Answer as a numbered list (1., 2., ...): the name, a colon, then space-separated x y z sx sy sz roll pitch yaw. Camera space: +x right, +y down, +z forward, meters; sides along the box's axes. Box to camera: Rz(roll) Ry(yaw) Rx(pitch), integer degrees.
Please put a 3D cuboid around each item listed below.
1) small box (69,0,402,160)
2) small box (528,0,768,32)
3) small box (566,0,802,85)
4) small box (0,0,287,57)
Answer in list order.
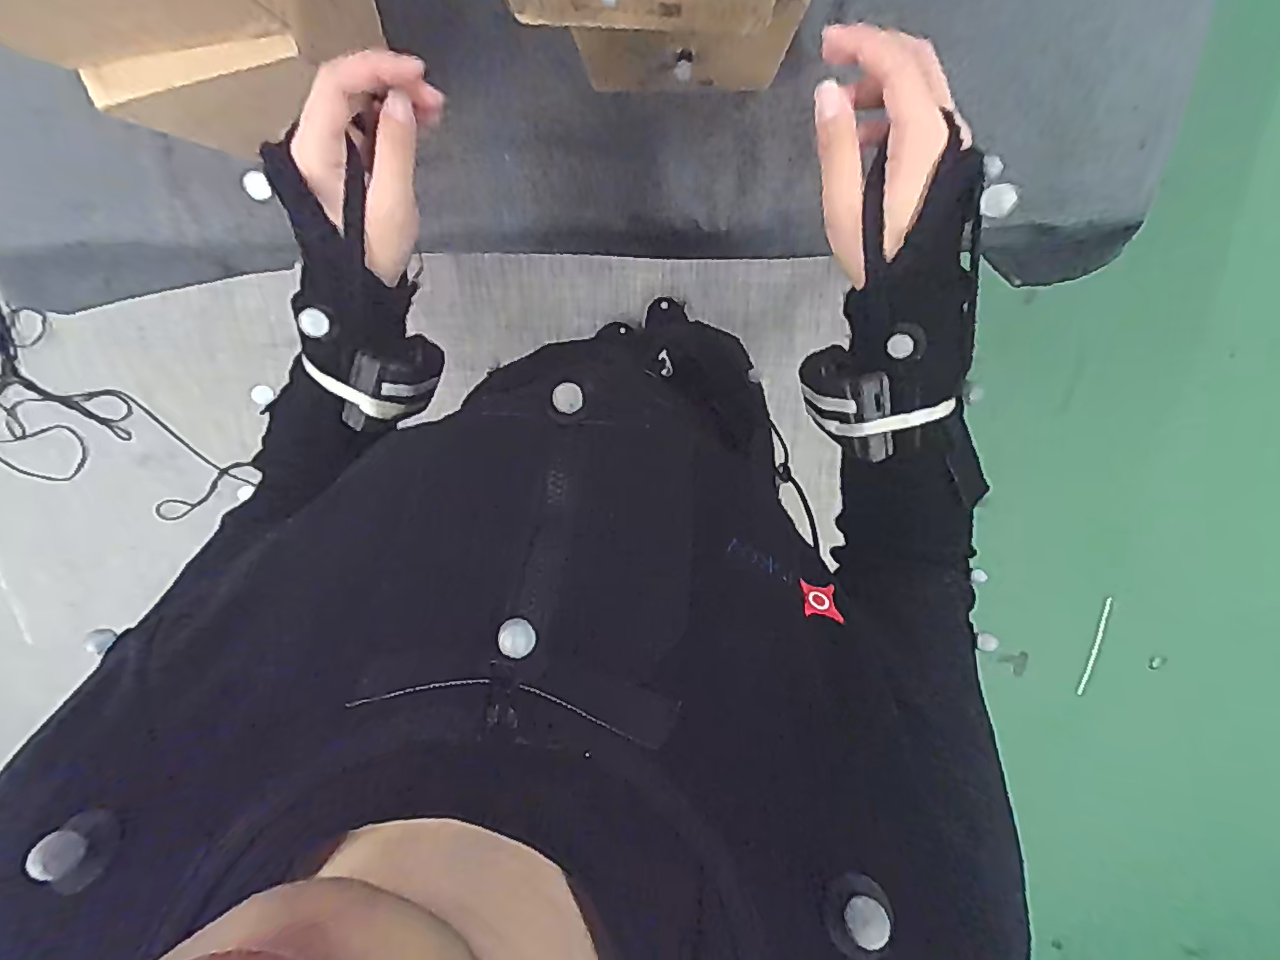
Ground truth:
1. small box: -0.324 -0.386 0.431 0.168 0.176 0.179 -9 108 6
2. small box: 0.002 -0.358 0.254 0.168 0.176 0.179 4 109 1
3. small box: 0.035 -0.421 0.404 0.168 0.176 0.179 1 109 4
4. small box: -0.327 -0.349 0.272 0.179 0.176 0.168 -6 110 4
